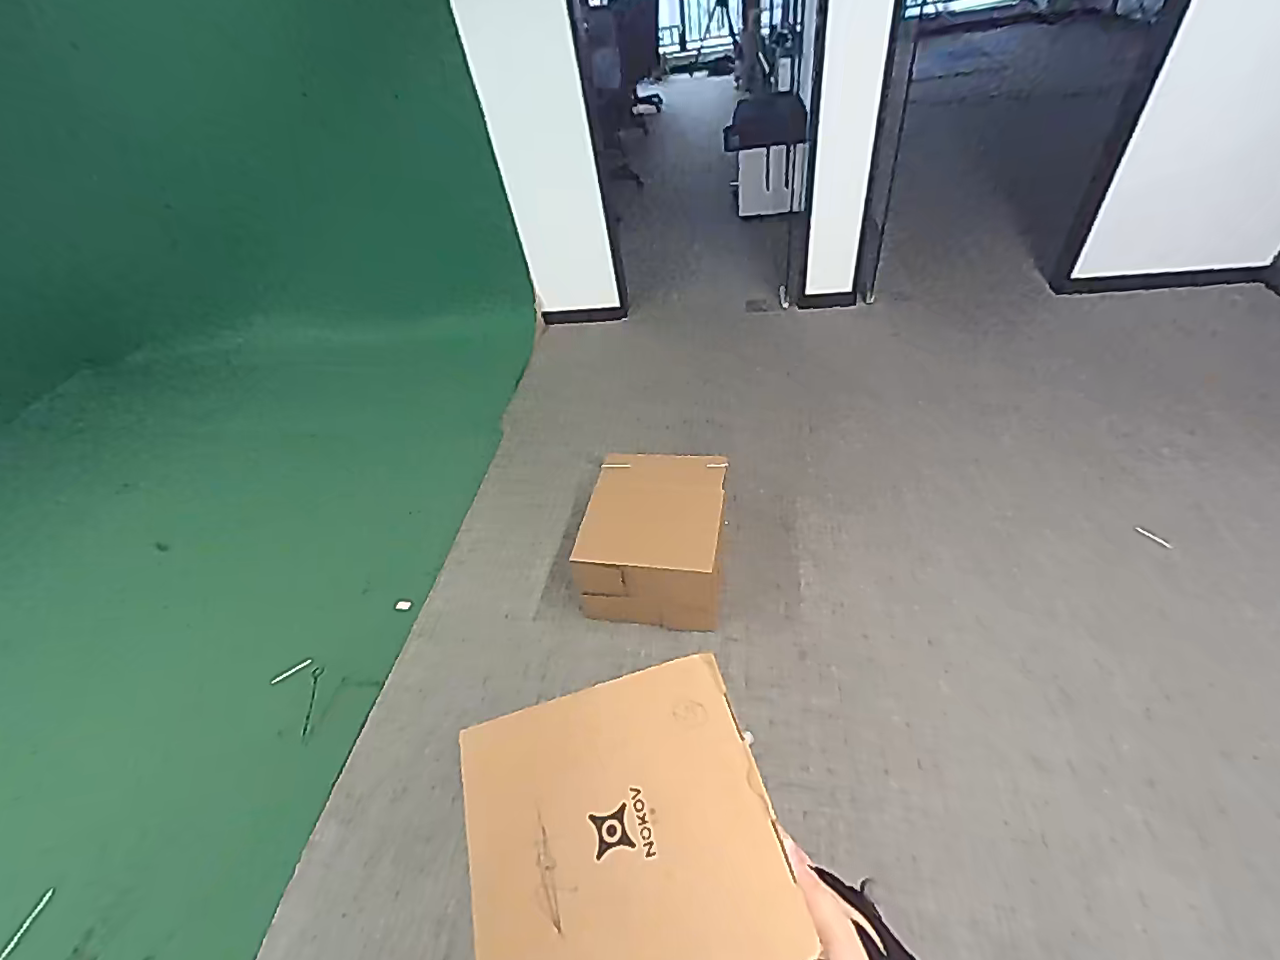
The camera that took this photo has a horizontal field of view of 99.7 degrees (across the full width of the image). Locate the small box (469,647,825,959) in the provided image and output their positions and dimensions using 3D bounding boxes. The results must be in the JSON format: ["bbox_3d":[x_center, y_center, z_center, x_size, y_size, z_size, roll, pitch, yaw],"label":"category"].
[{"bbox_3d":[-0.001,0.244,0.376,0.179,0.176,0.168,-17,52,-5],"label":"small box"}]
